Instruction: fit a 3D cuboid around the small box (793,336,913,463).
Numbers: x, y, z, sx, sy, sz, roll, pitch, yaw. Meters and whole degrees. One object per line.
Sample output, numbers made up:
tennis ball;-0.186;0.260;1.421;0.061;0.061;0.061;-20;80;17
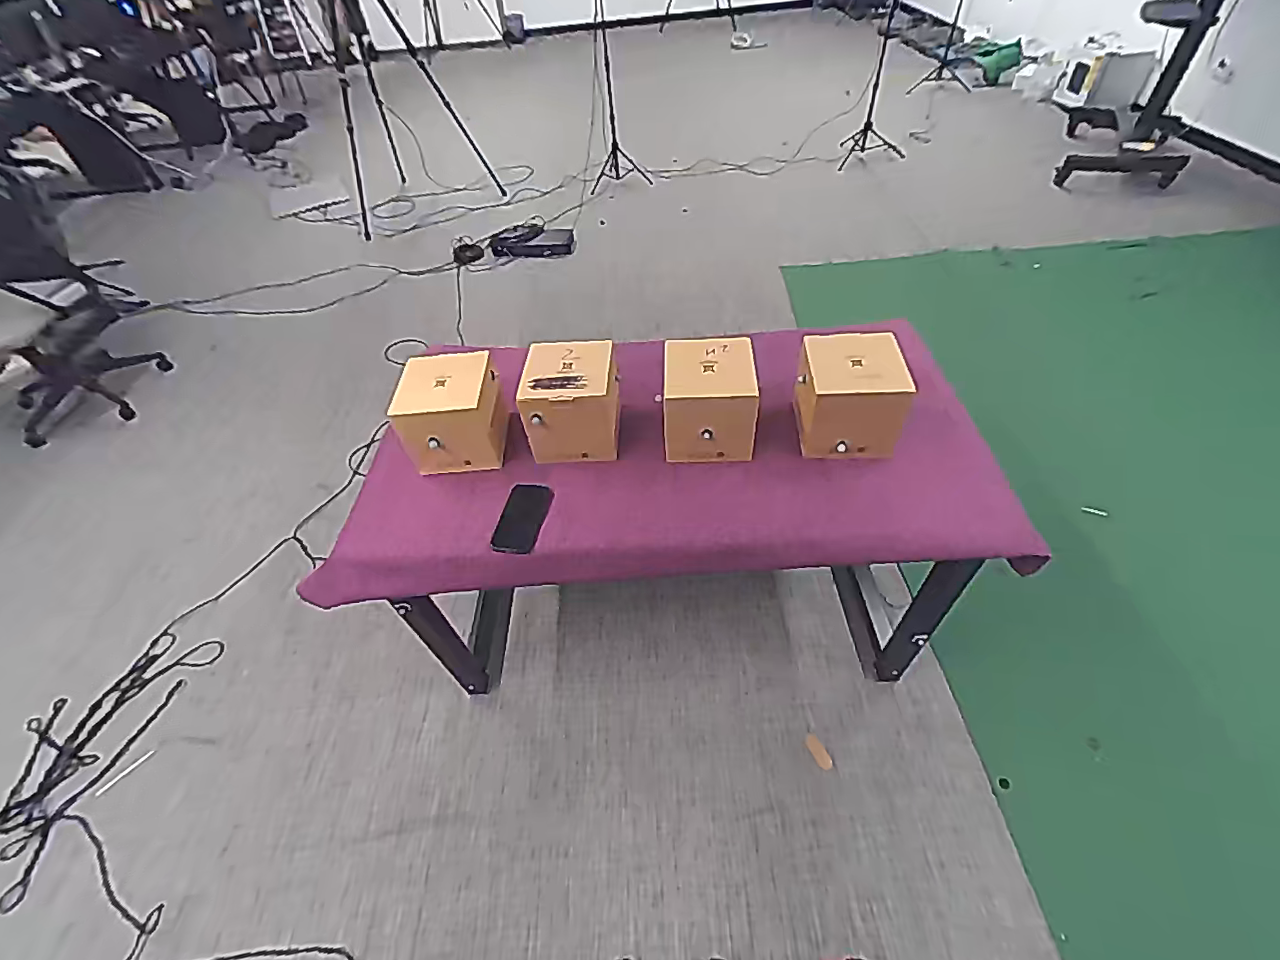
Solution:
small box;0.390;-0.153;1.027;0.168;0.176;0.179;0;48;7

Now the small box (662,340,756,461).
small box;0.130;-0.149;1.047;0.168;0.176;0.179;0;48;5

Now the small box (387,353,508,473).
small box;-0.369;-0.127;1.076;0.168;0.176;0.179;-5;47;1
